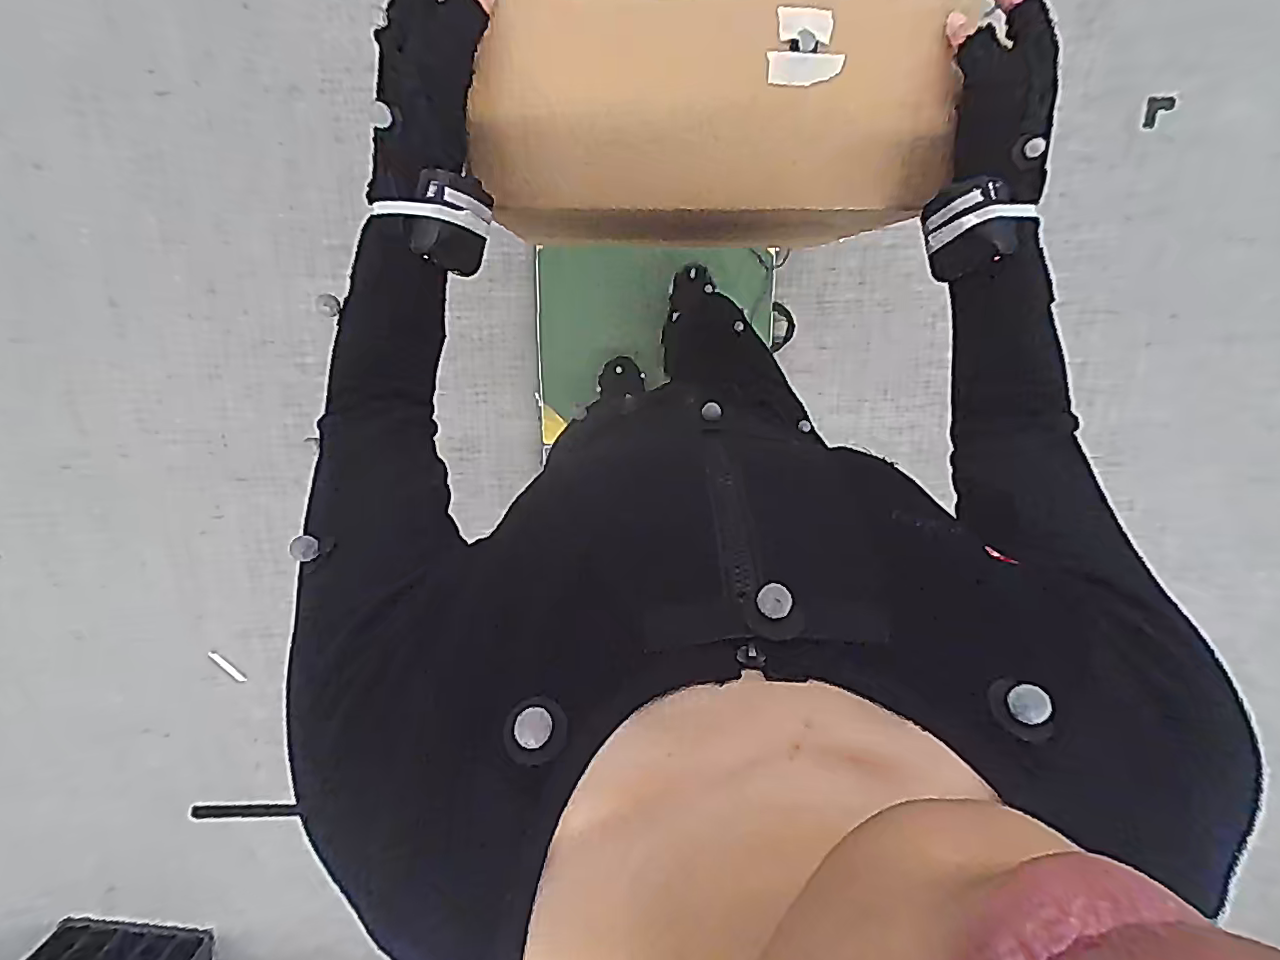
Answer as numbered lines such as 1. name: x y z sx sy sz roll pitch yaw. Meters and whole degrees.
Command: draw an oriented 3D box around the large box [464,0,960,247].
1. large box: 0.050 -0.433 0.566 0.408 0.320 0.320 -2 108 -3
